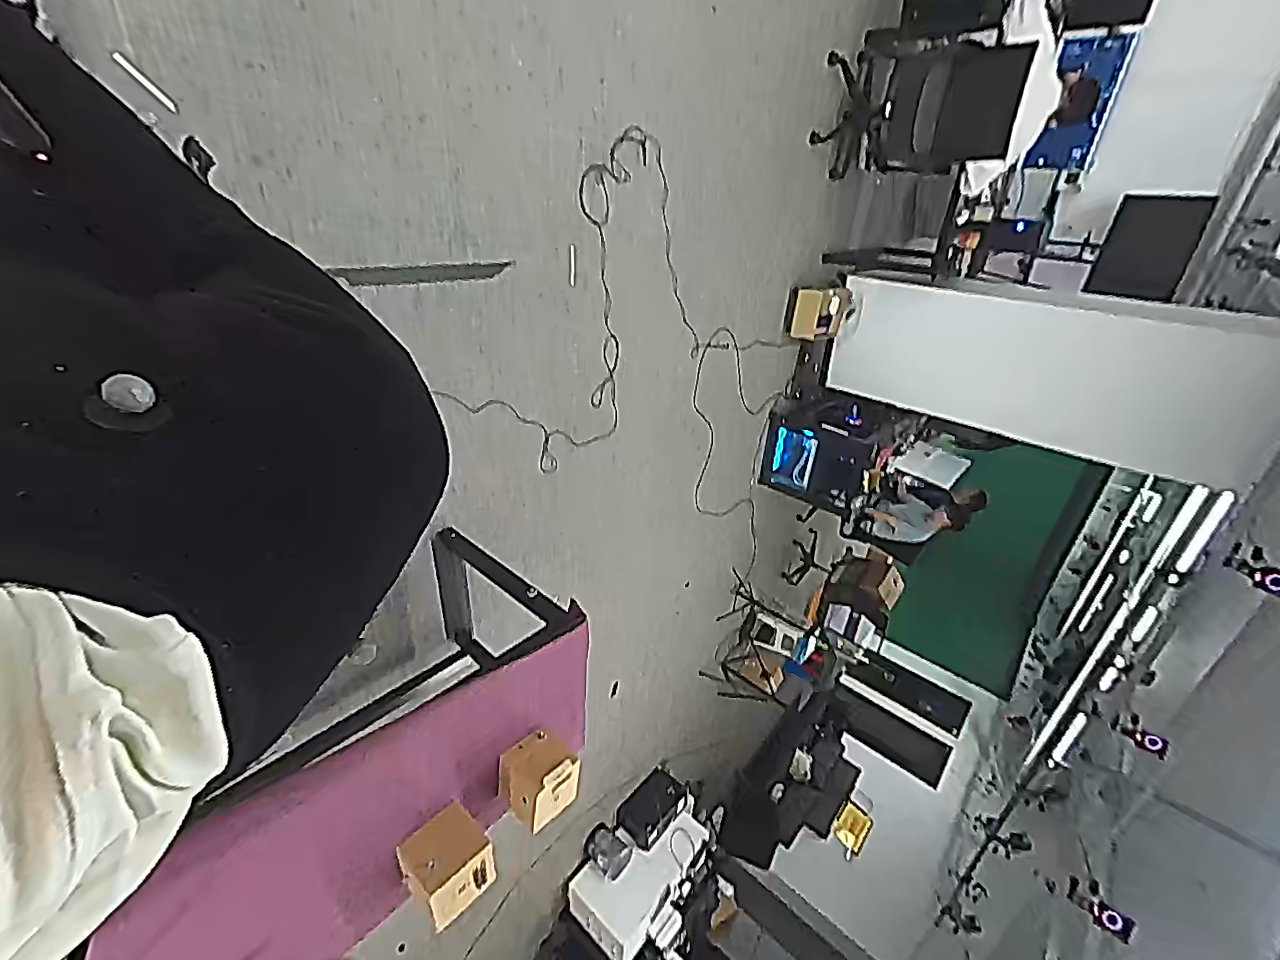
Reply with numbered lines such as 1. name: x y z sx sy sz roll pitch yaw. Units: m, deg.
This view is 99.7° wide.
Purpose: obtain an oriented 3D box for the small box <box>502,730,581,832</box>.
1. small box: -0.296 0.881 1.609 0.168 0.176 0.179 -19 125 -46
